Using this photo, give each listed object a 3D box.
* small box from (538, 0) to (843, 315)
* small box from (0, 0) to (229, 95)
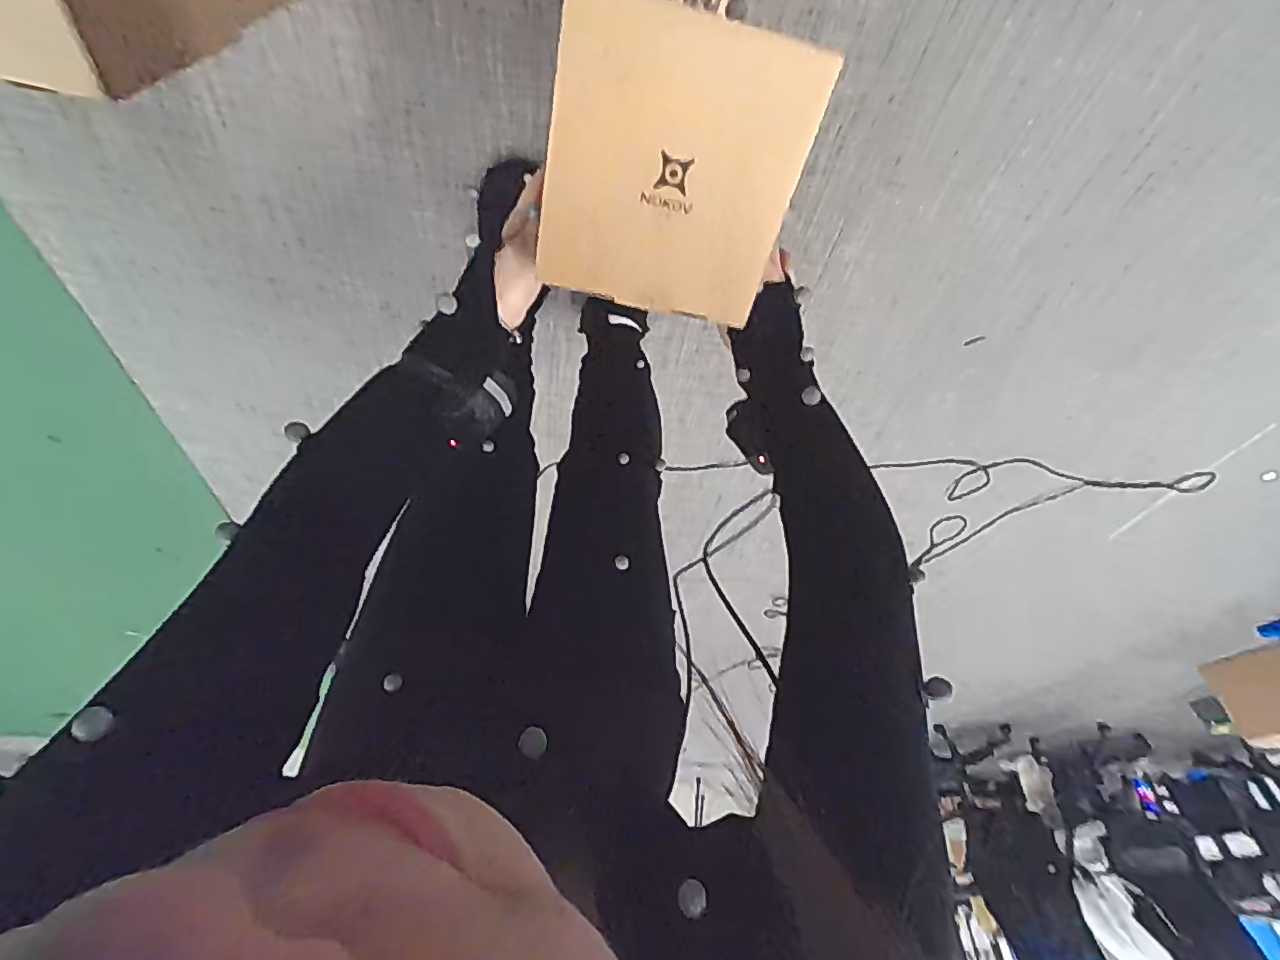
[{"bbox_3d":[0.022,-0.257,0.416,0.168,0.176,0.179,10,130,-7],"label":"small box"},{"bbox_3d":[-0.386,-0.360,0.304,0.168,0.176,0.179,8,140,-7],"label":"small box"}]
